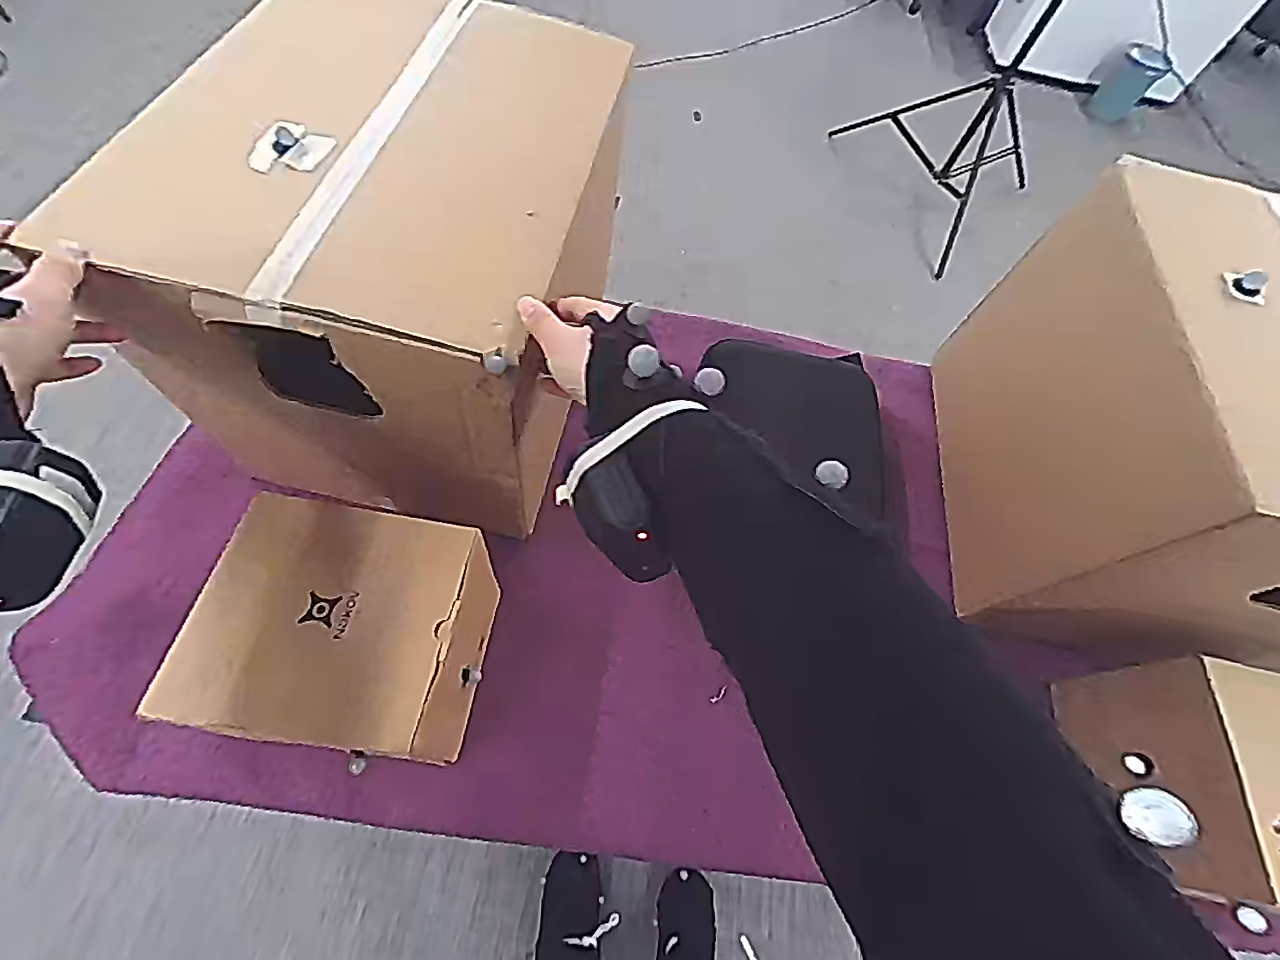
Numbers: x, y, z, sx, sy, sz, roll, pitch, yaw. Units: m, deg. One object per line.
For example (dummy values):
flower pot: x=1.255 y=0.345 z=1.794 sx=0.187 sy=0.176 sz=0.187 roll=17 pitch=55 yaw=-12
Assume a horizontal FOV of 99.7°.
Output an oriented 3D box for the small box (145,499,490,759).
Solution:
small box: x=-0.240 y=0.137 z=0.464 sx=0.179 sy=0.176 sz=0.168 roll=10 pitch=60 yaw=-4

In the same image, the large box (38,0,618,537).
large box: x=-0.220 y=-0.199 z=0.564 sx=0.320 sy=0.320 sz=0.408 roll=12 pitch=64 yaw=-3
